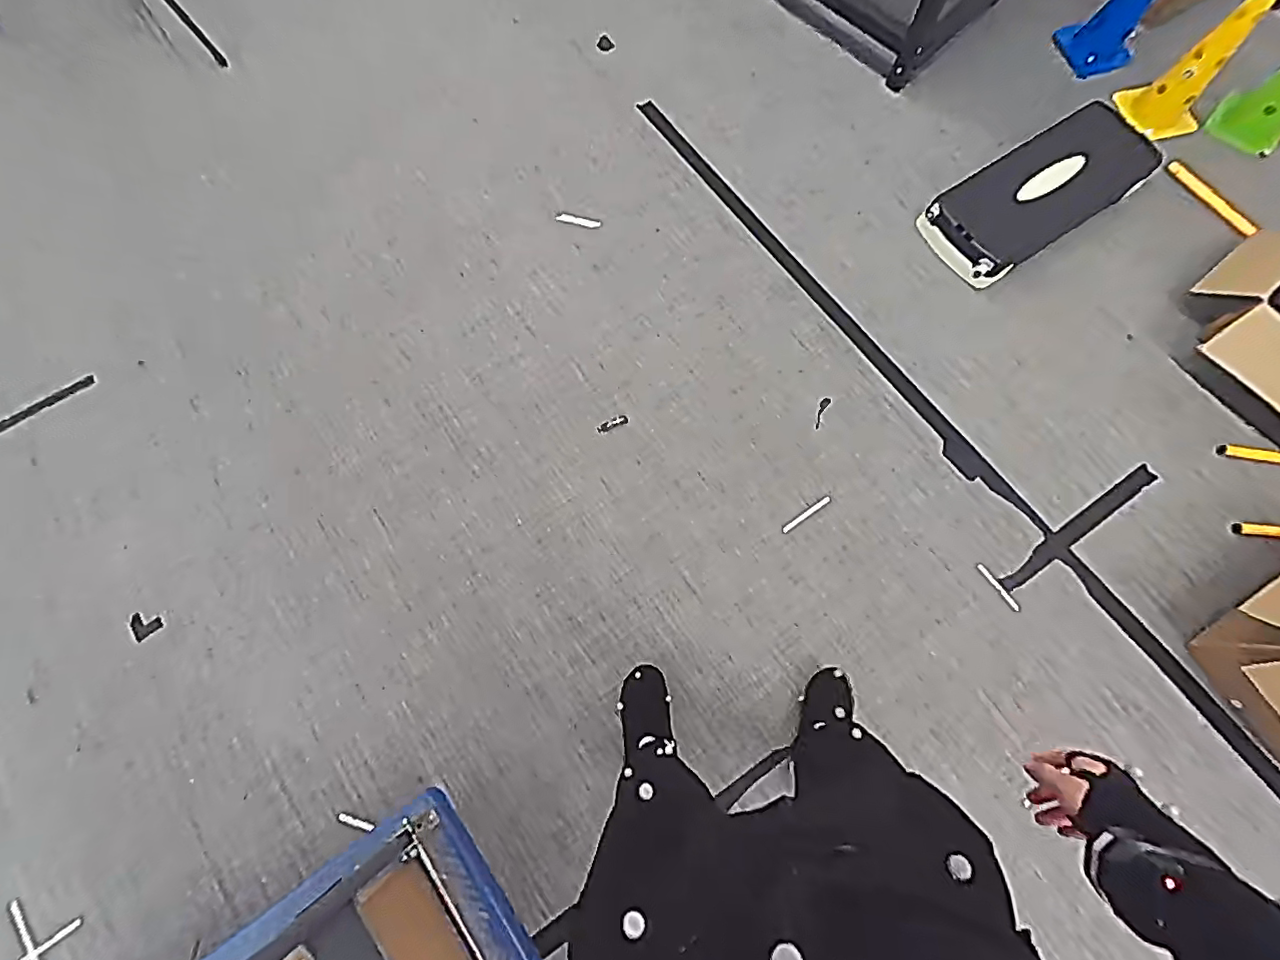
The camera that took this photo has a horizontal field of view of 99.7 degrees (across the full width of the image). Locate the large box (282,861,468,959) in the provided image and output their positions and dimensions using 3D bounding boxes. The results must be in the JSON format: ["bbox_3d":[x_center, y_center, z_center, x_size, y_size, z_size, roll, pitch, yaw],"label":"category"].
[{"bbox_3d":[-0.450,0.940,0.851,0.320,0.320,0.408,-35,76,-9],"label":"large box"}]
